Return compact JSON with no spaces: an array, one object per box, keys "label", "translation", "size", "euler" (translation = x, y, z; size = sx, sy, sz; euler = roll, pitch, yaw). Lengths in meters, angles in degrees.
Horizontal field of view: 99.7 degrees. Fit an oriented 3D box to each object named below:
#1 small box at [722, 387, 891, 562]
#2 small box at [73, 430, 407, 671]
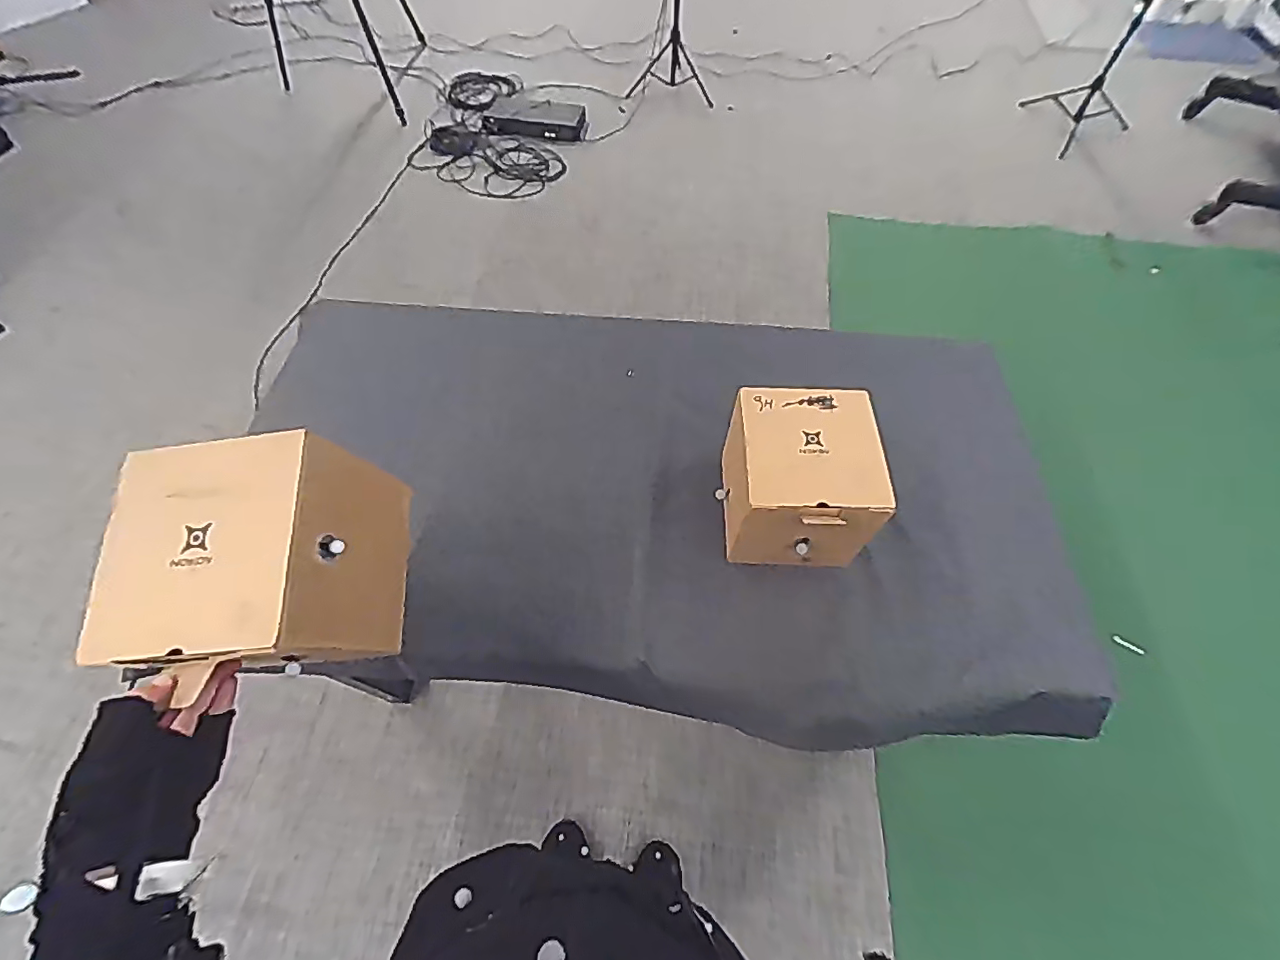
[{"label":"small box","translation":[0.203,-0.001,0.715],"size":[0.168,0.176,0.179],"euler":[2,60,0]},{"label":"small box","translation":[-0.333,0.074,0.492],"size":[0.168,0.176,0.179],"euler":[-6,71,5]}]
